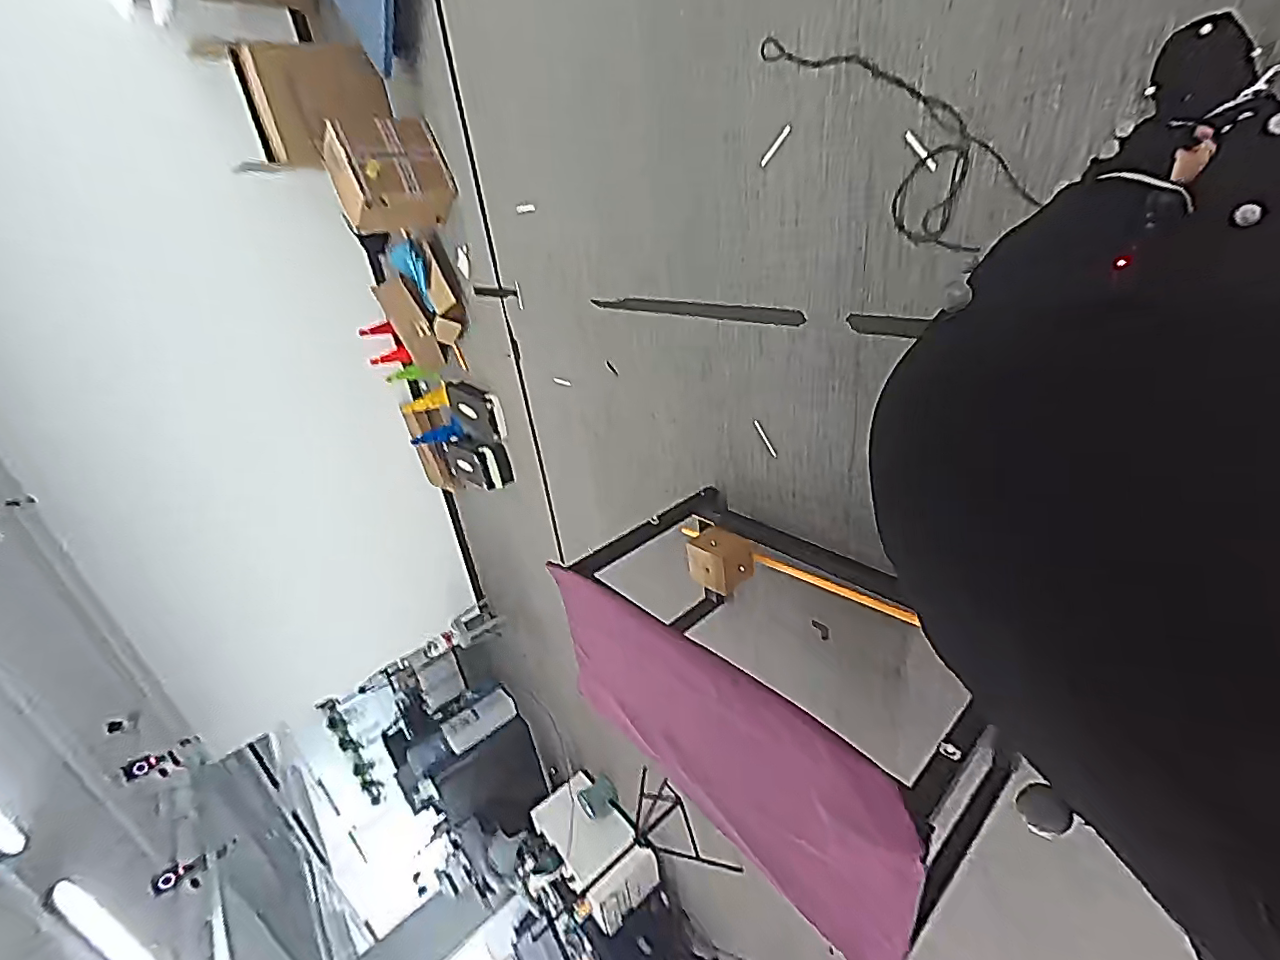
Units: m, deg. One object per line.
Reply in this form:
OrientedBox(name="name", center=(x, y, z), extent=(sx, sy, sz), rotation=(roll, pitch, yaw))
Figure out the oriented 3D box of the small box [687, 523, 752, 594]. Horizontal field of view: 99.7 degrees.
OrientedBox(name="small box", center=(0.295, 0.278, 1.969), extent=(0.179, 0.176, 0.168), rotation=(20, 127, 45))
